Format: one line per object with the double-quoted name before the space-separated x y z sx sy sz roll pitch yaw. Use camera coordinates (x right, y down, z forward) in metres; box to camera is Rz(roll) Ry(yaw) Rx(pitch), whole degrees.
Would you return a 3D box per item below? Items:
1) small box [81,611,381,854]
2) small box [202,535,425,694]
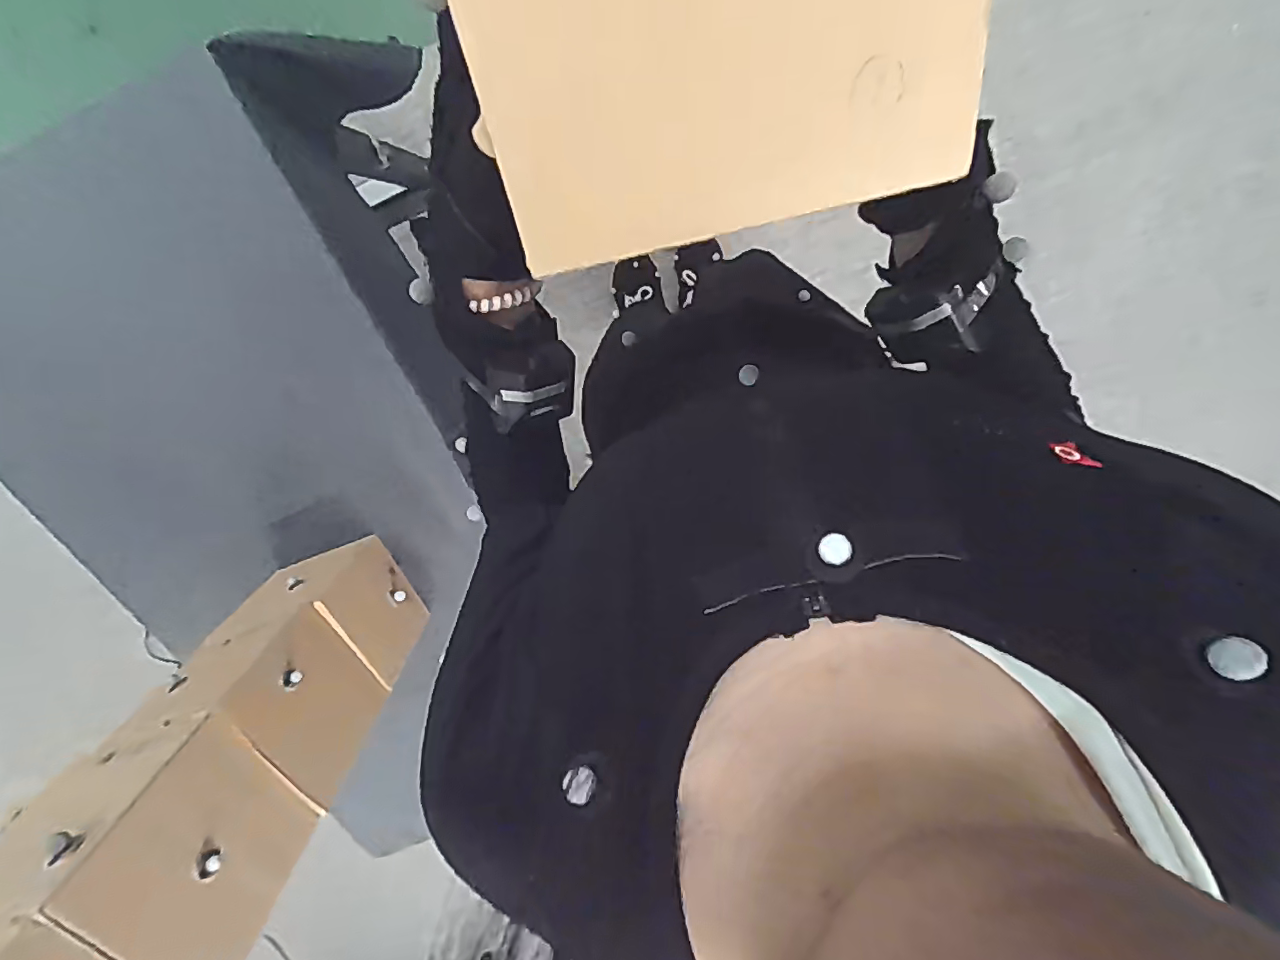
"small box" -0.441 0.275 0.620 0.168 0.176 0.179 -22 112 9
"small box" -0.442 0.205 0.767 0.179 0.176 0.168 -20 113 7
